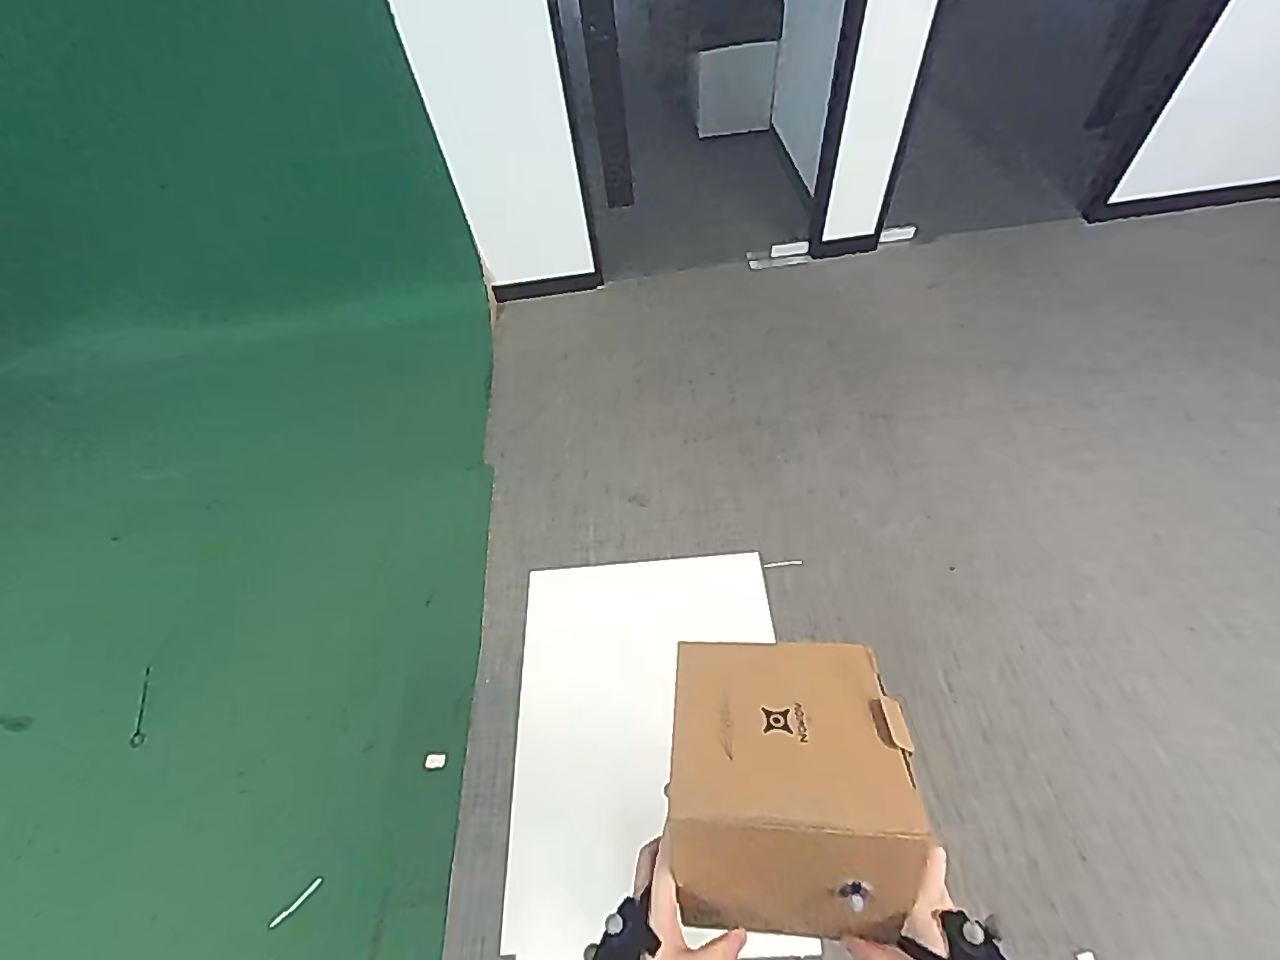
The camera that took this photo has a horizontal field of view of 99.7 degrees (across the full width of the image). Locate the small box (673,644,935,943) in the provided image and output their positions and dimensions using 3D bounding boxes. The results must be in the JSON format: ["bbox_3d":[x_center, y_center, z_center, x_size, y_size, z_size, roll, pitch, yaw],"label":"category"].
[{"bbox_3d":[0.124,0.266,0.471,0.179,0.176,0.168,-2,29,8],"label":"small box"}]
